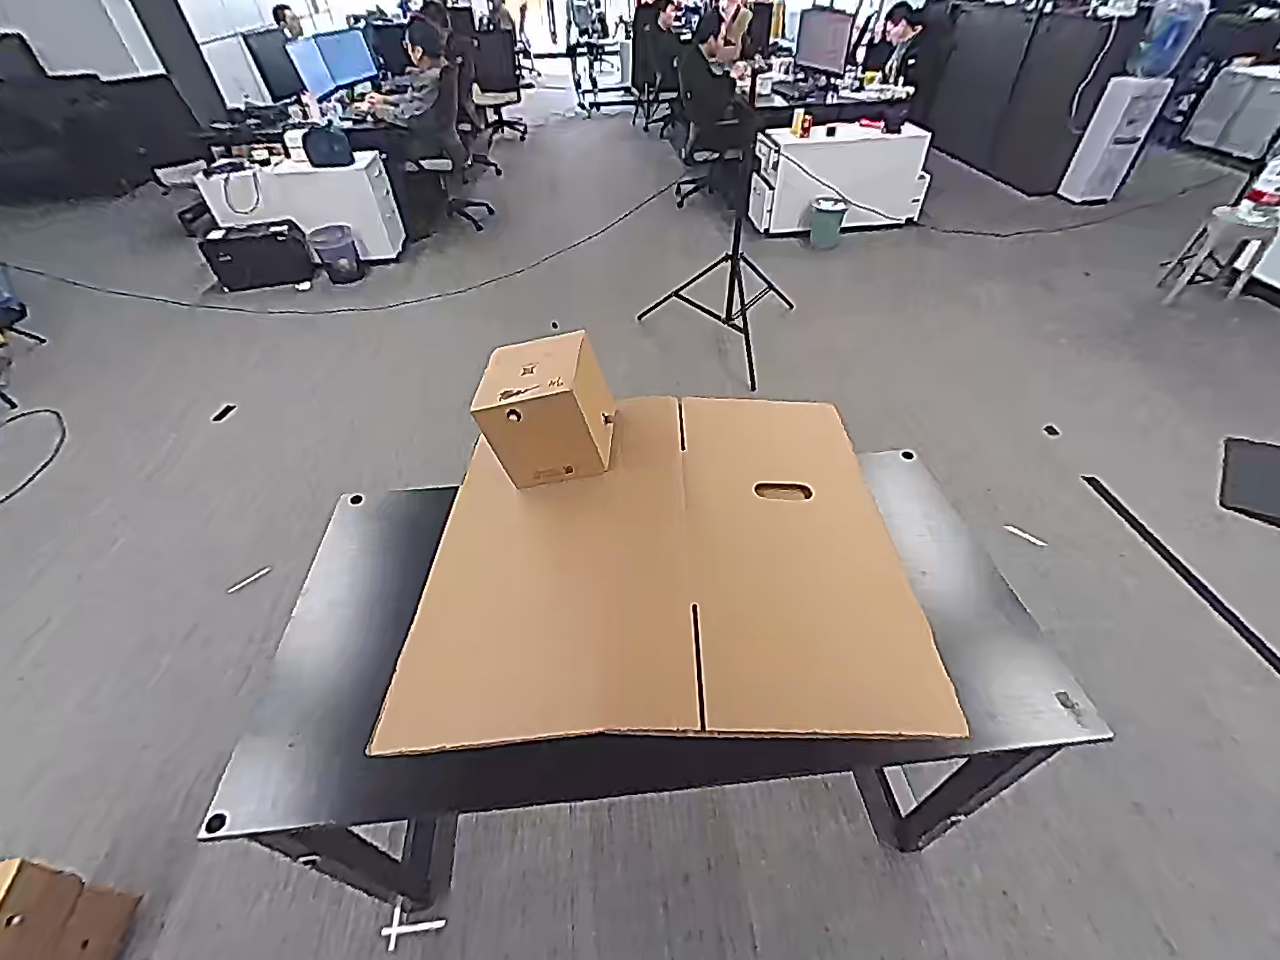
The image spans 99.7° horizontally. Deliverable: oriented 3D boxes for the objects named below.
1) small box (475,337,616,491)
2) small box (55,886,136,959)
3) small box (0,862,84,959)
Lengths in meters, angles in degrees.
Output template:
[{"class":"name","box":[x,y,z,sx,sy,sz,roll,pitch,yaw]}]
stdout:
[{"class":"small box","box":[-0.144,-0.108,0.901,0.168,0.176,0.179,-11,41,12]},{"class":"small box","box":[-1.200,0.966,1.105,0.168,0.176,0.179,-8,45,-5]},{"class":"small box","box":[-1.207,0.845,0.997,0.168,0.176,0.179,-9,43,-9]}]
